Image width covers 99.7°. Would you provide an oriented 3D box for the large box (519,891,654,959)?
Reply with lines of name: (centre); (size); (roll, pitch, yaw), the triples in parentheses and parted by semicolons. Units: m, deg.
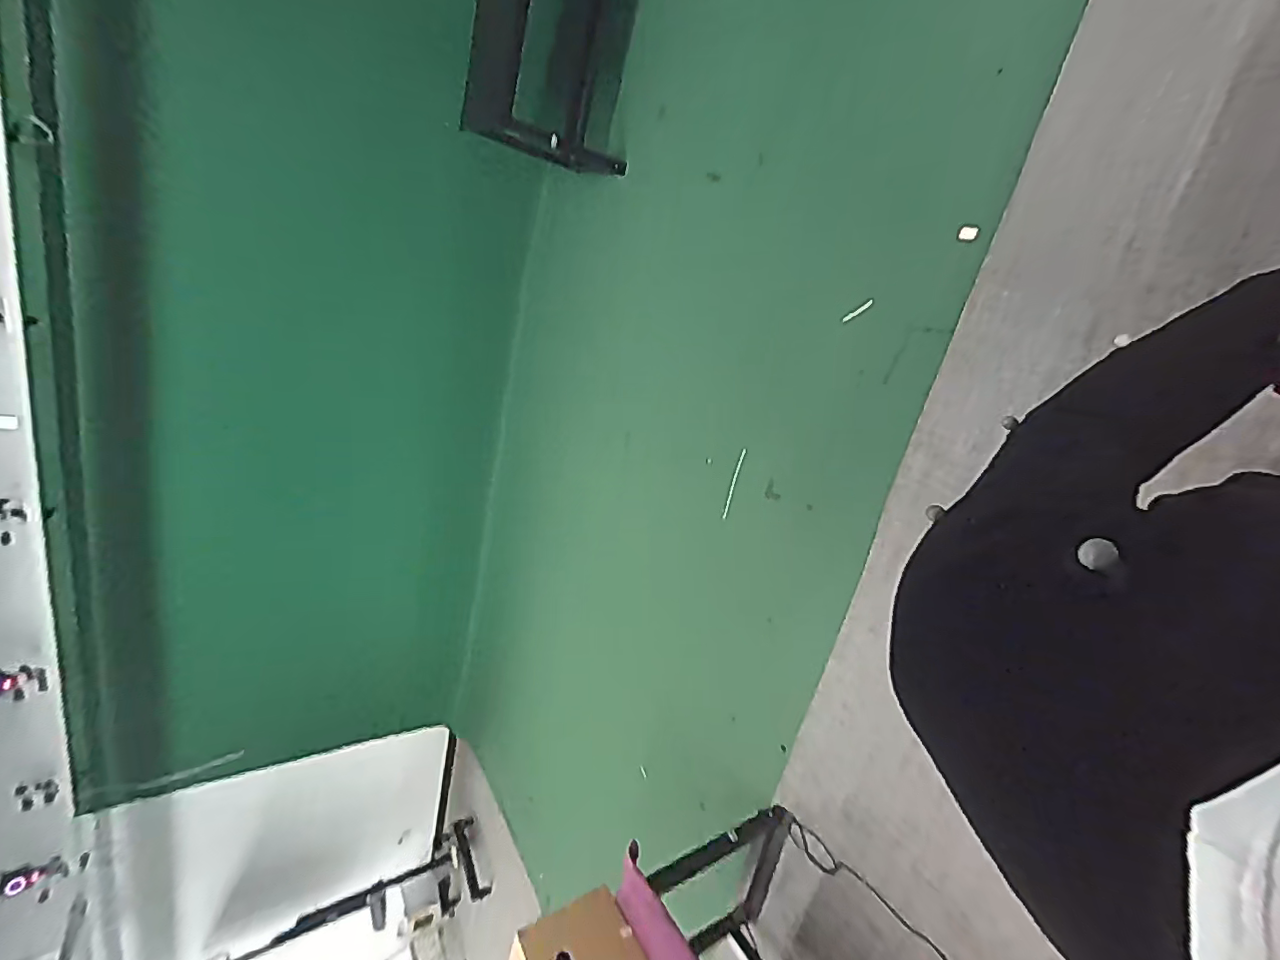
large box: (-0.168, 1.540, 1.576); (0.320, 0.320, 0.408); (32, 115, 47)
